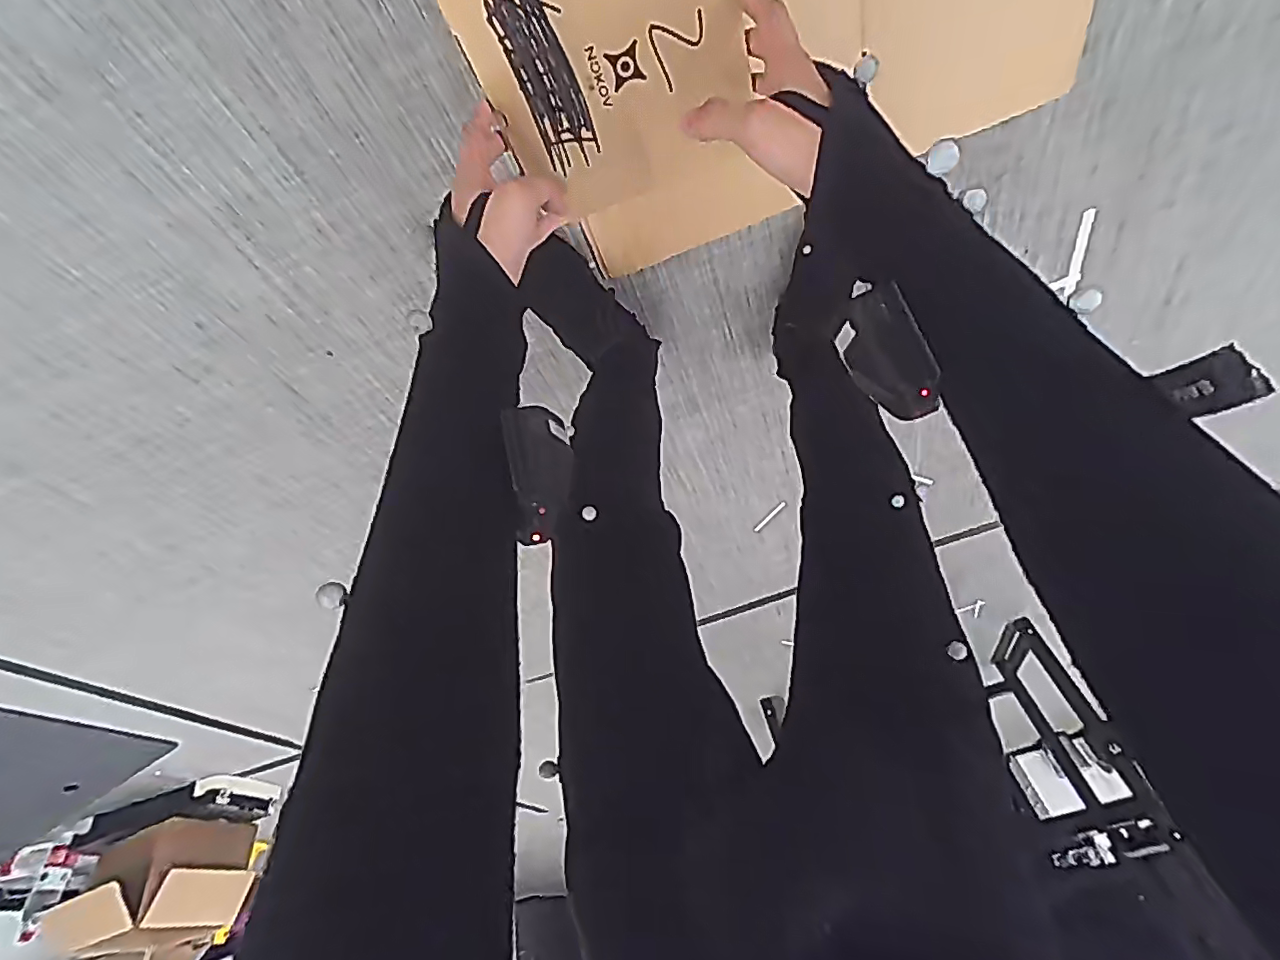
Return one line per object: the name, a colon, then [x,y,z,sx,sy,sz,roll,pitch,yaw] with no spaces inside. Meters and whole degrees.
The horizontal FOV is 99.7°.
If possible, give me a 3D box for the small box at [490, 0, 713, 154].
small box: [-0.046,-0.464,0.529,0.179,0.176,0.168,-19,138,7]
